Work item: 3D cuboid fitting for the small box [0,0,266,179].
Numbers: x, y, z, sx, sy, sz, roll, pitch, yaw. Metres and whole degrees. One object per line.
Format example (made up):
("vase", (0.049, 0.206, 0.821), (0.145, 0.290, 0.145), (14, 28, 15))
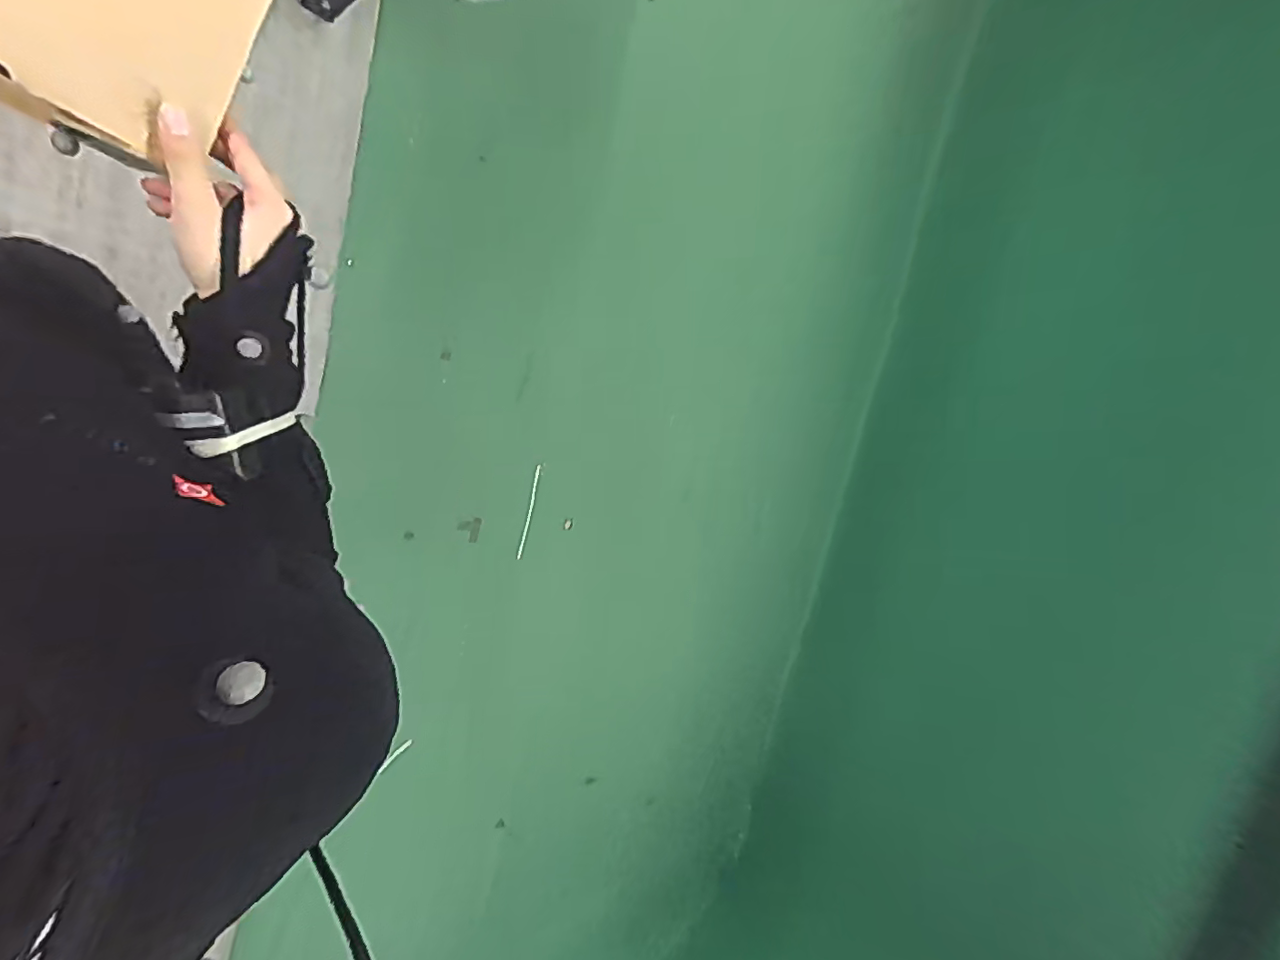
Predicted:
("small box", (-0.332, -0.300, 0.295), (0.168, 0.176, 0.179), (20, 95, -56))
